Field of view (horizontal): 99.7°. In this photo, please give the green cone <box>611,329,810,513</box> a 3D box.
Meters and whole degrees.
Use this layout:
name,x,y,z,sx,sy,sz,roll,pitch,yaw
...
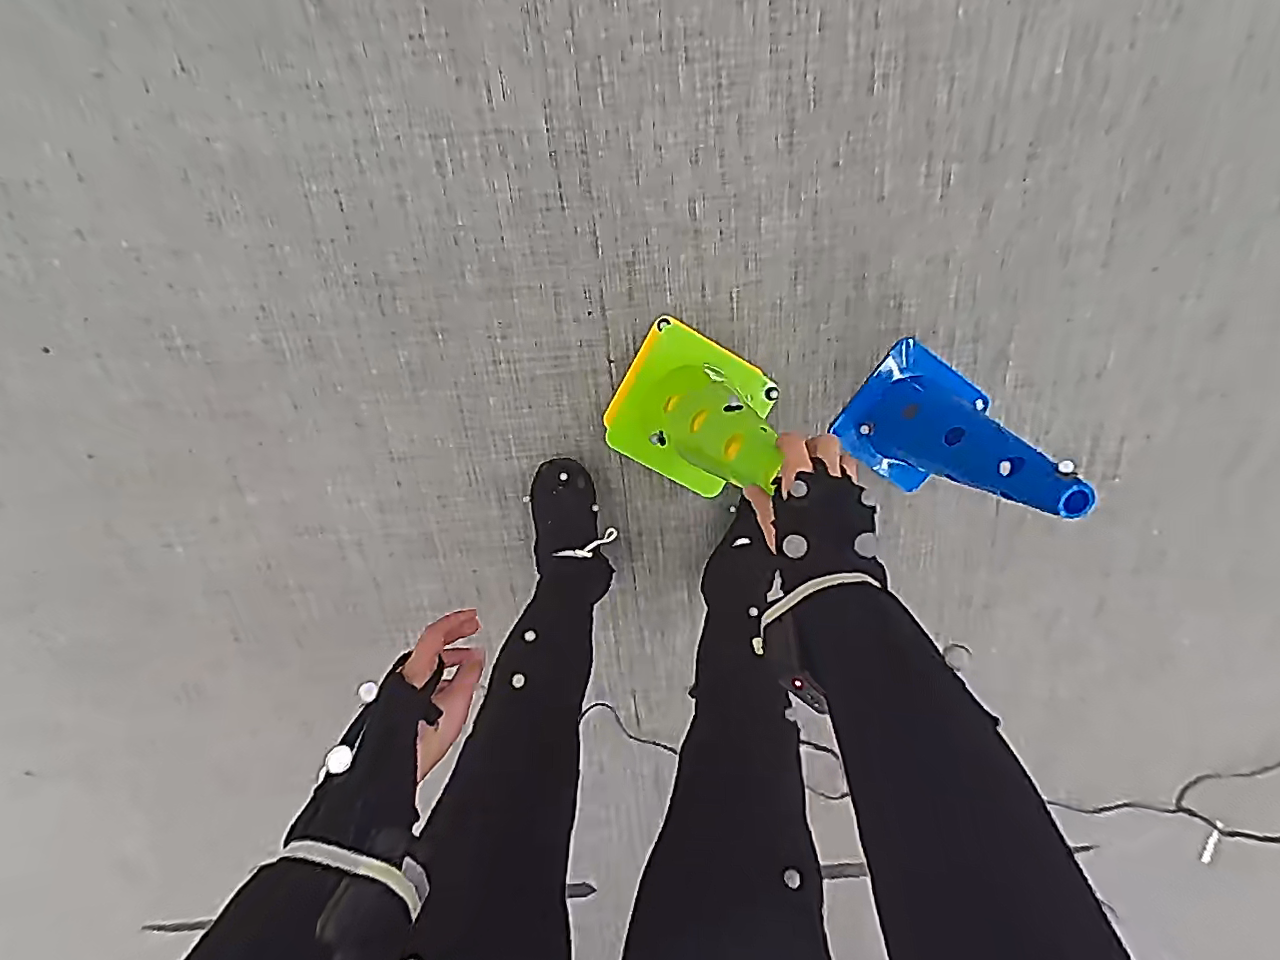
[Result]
name,x,y,z,sx,sy,sz,roll,pitch,yaw
green cone,0.102,-0.045,0.625,0.200,0.368,0.202,27,101,-13
